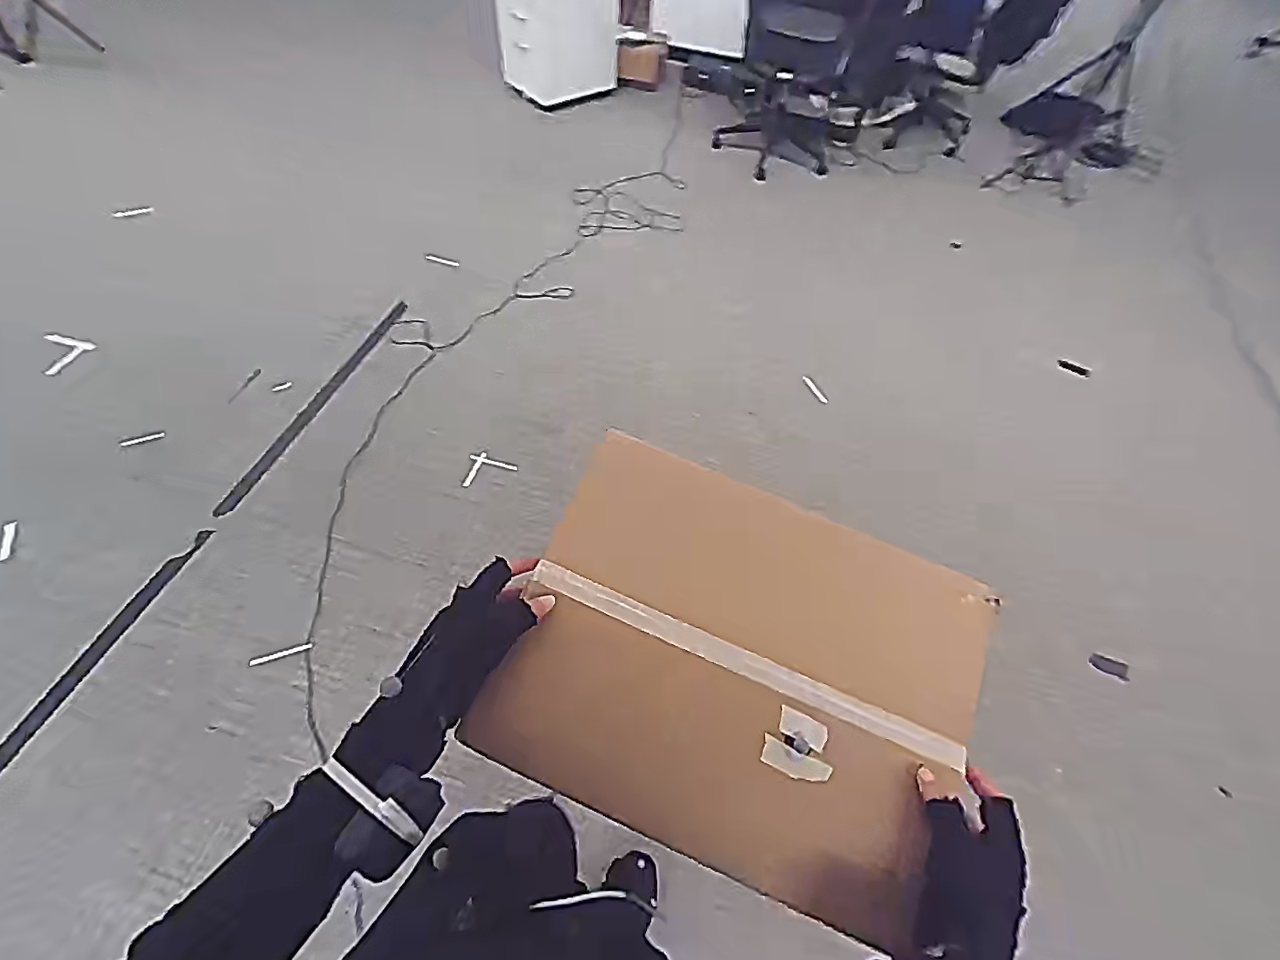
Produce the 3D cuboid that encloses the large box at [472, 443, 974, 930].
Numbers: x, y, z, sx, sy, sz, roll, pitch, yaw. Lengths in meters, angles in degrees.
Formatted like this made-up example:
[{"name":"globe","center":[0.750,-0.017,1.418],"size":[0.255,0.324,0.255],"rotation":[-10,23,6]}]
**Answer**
[{"name":"large box","center":[0.082,0.210,0.640],"size":[0.408,0.320,0.320],"rotation":[23,73,5]}]
